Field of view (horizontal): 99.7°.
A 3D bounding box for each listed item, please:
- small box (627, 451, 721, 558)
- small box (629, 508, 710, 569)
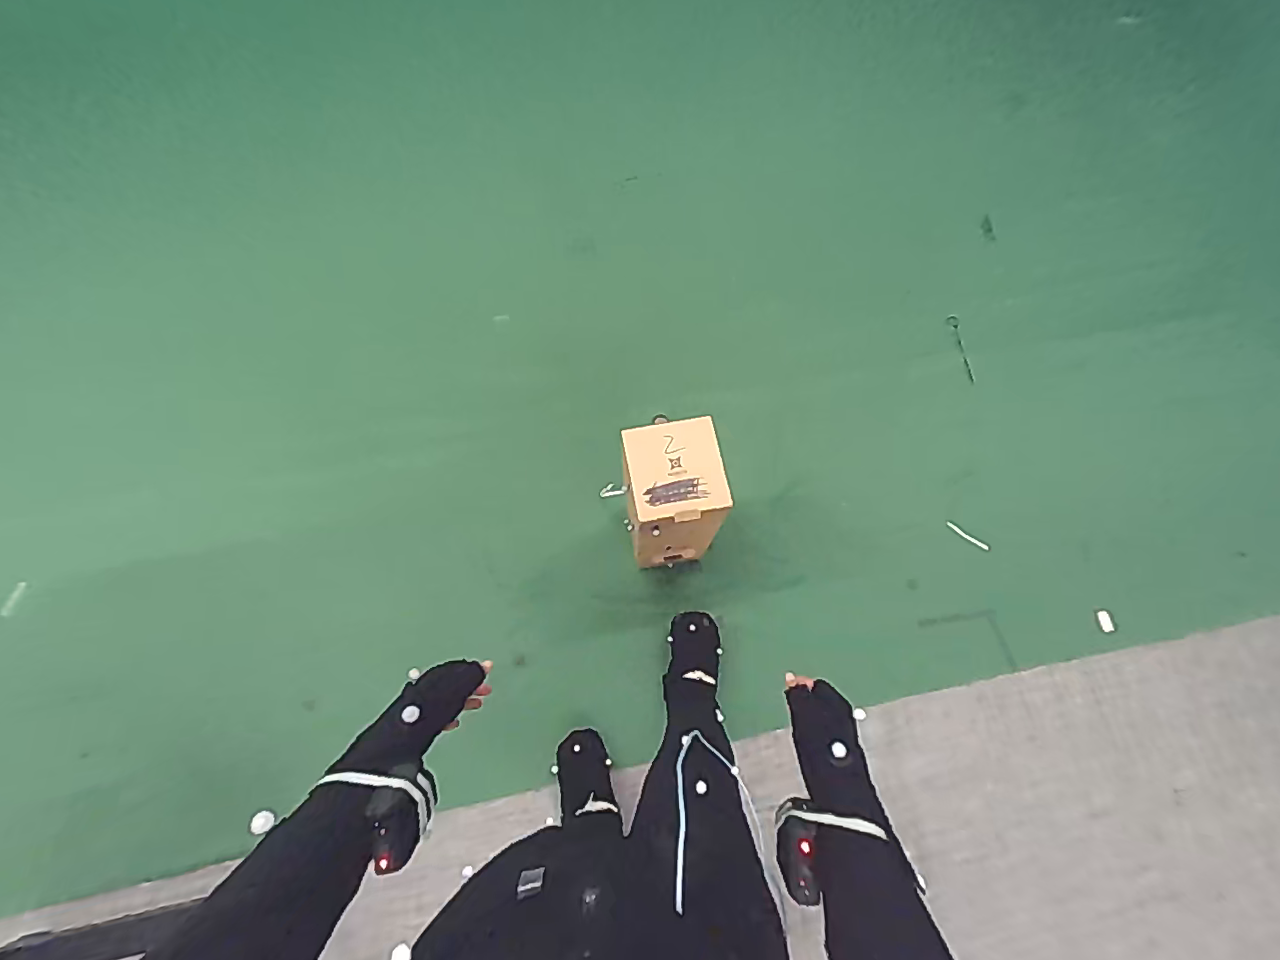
[{"bbox_3d":[0.064,0.057,1.172,0.168,0.176,0.179,-10,73,-4],"label":"small box"},{"bbox_3d":[0.065,0.108,1.327,0.168,0.176,0.179,-9,72,-3],"label":"small box"}]
